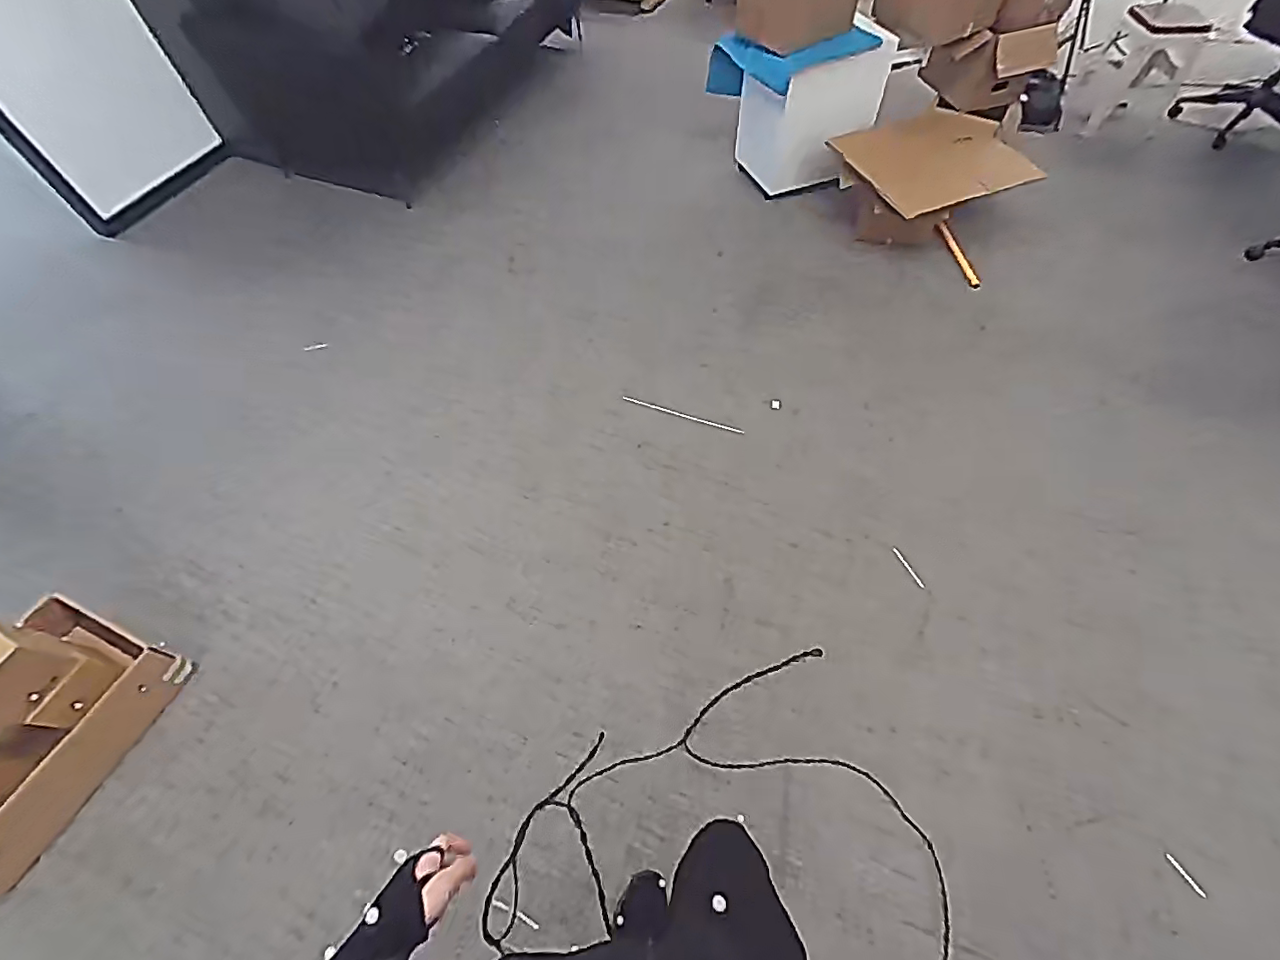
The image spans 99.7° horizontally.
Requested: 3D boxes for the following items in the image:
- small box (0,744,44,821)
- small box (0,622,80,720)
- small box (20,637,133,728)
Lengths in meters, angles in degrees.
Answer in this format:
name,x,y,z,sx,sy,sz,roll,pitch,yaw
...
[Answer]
name,x,y,z,sx,sy,sz,roll,pitch,yaw
small box,-1.629,0.740,1.301,0.179,0.176,0.168,20,60,12
small box,-1.530,0.453,1.290,0.179,0.176,0.168,22,63,14
small box,-1.522,0.539,1.430,0.179,0.176,0.168,19,61,13
